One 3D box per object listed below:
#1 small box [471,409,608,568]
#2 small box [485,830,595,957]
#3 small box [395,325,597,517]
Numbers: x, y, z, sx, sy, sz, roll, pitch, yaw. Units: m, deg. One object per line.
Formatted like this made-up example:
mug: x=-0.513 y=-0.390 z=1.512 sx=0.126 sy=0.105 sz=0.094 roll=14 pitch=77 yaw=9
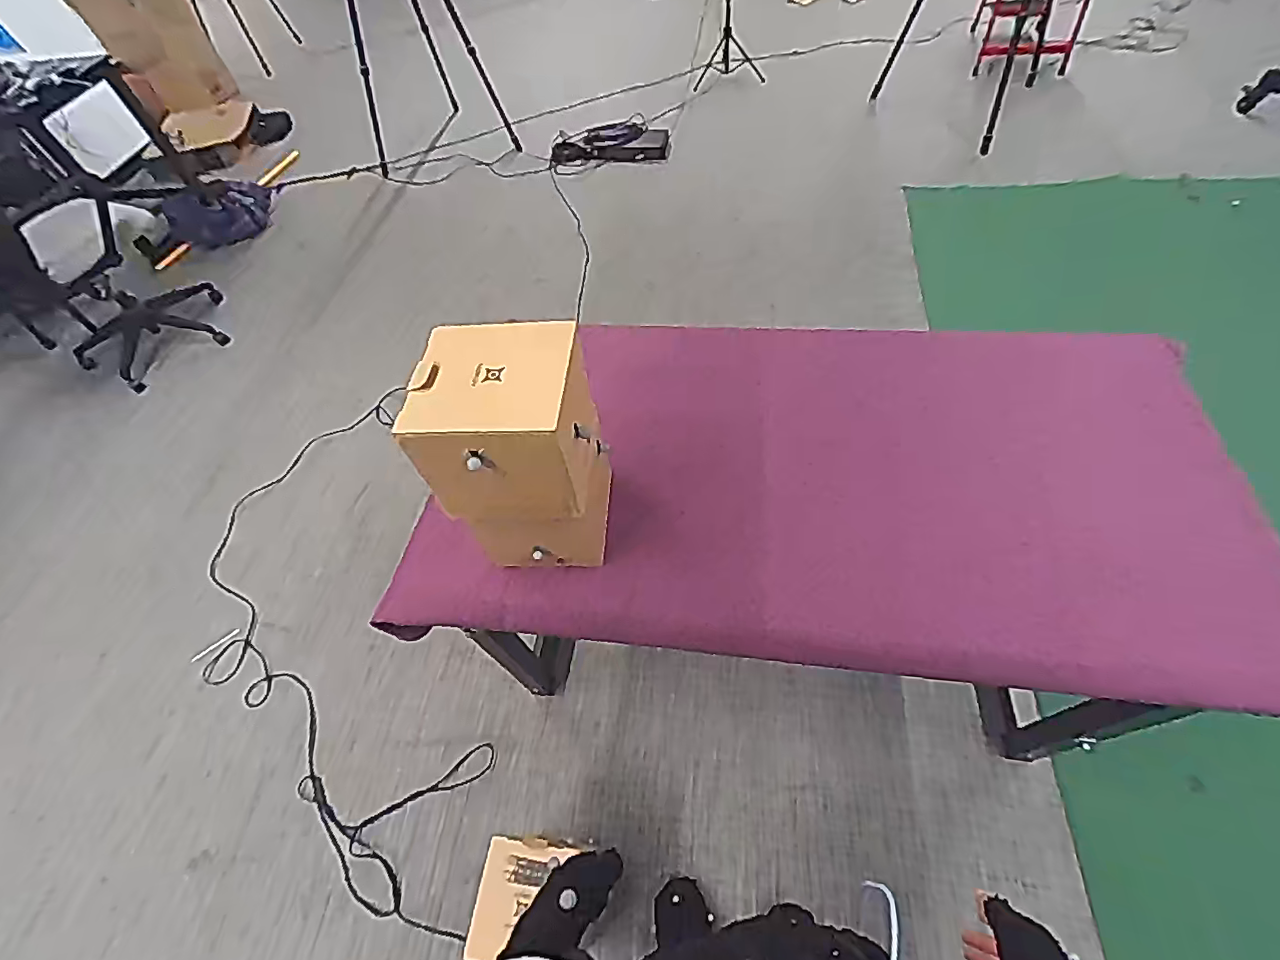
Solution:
small box: x=-0.142 y=0.012 z=0.797 sx=0.168 sy=0.176 sz=0.179 roll=0 pitch=55 yaw=6
small box: x=-0.195 y=0.843 z=1.119 sx=0.168 sy=0.176 sz=0.179 roll=5 pitch=58 yaw=10
small box: x=-0.153 y=-0.066 z=0.653 sx=0.179 sy=0.176 sz=0.168 roll=0 pitch=56 yaw=6
